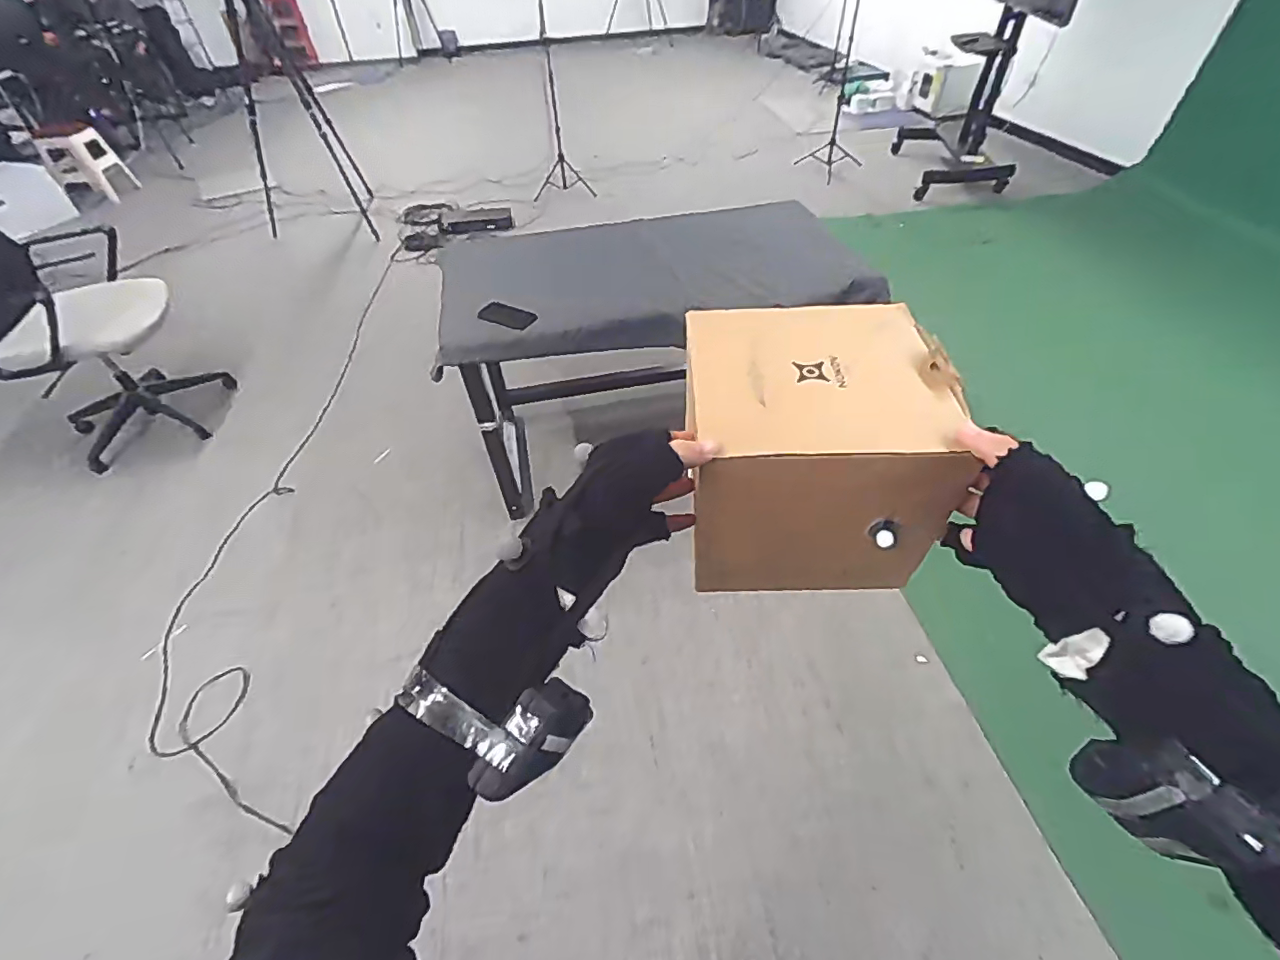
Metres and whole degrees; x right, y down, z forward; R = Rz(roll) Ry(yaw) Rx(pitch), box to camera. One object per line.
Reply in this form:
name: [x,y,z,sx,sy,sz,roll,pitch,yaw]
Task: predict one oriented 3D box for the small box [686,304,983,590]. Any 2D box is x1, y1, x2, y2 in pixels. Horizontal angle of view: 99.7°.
small box: [0.128,-0.022,0.442,0.179,0.176,0.168,-2,48,3]
